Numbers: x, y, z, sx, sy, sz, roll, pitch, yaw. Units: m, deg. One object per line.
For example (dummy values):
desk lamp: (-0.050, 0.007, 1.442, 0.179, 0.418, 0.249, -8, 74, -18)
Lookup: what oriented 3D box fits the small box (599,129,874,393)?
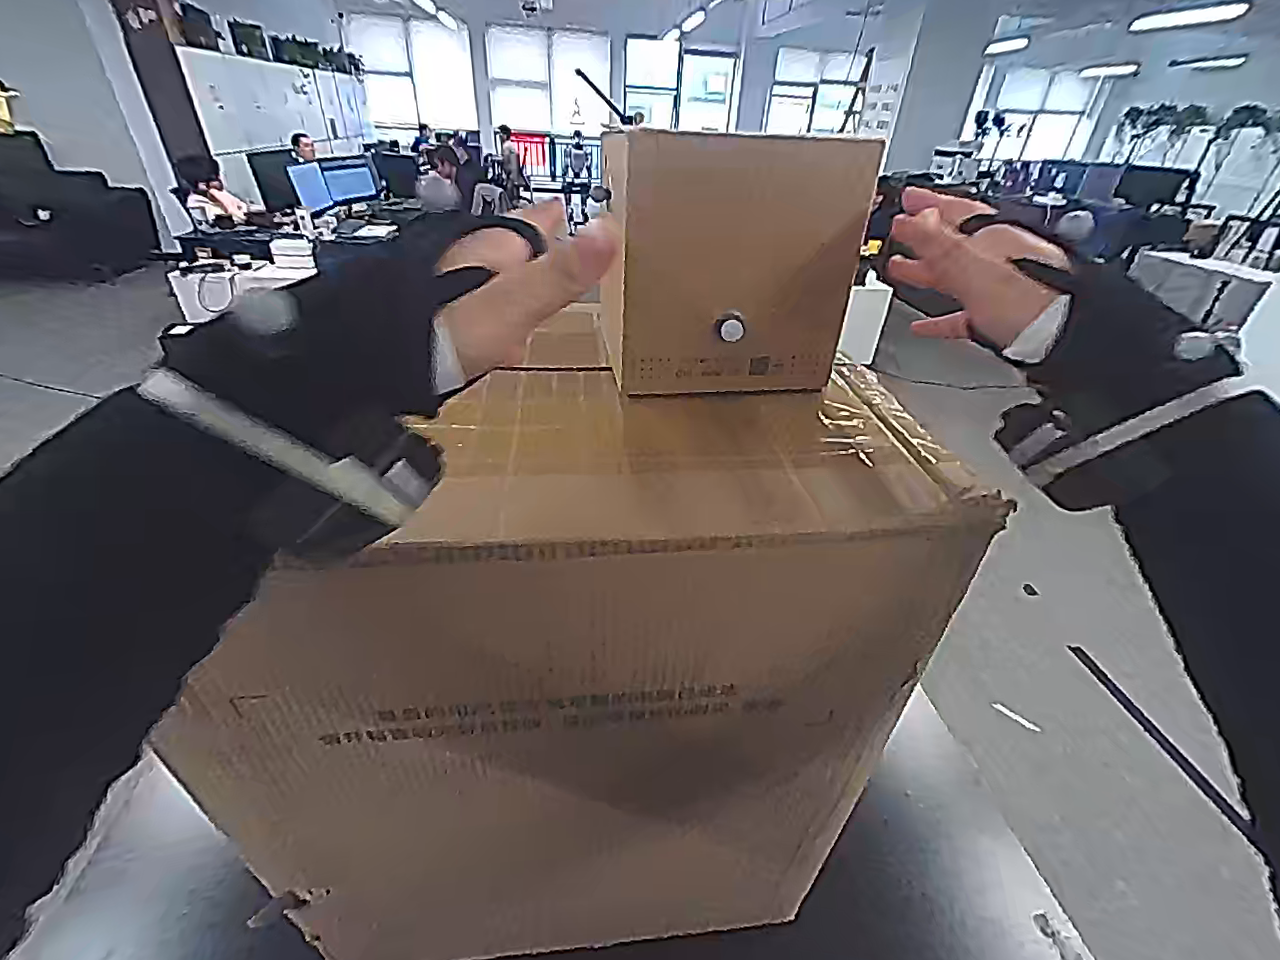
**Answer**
small box: (0.053, -0.180, 0.441, 0.168, 0.176, 0.179, -4, 33, -8)
